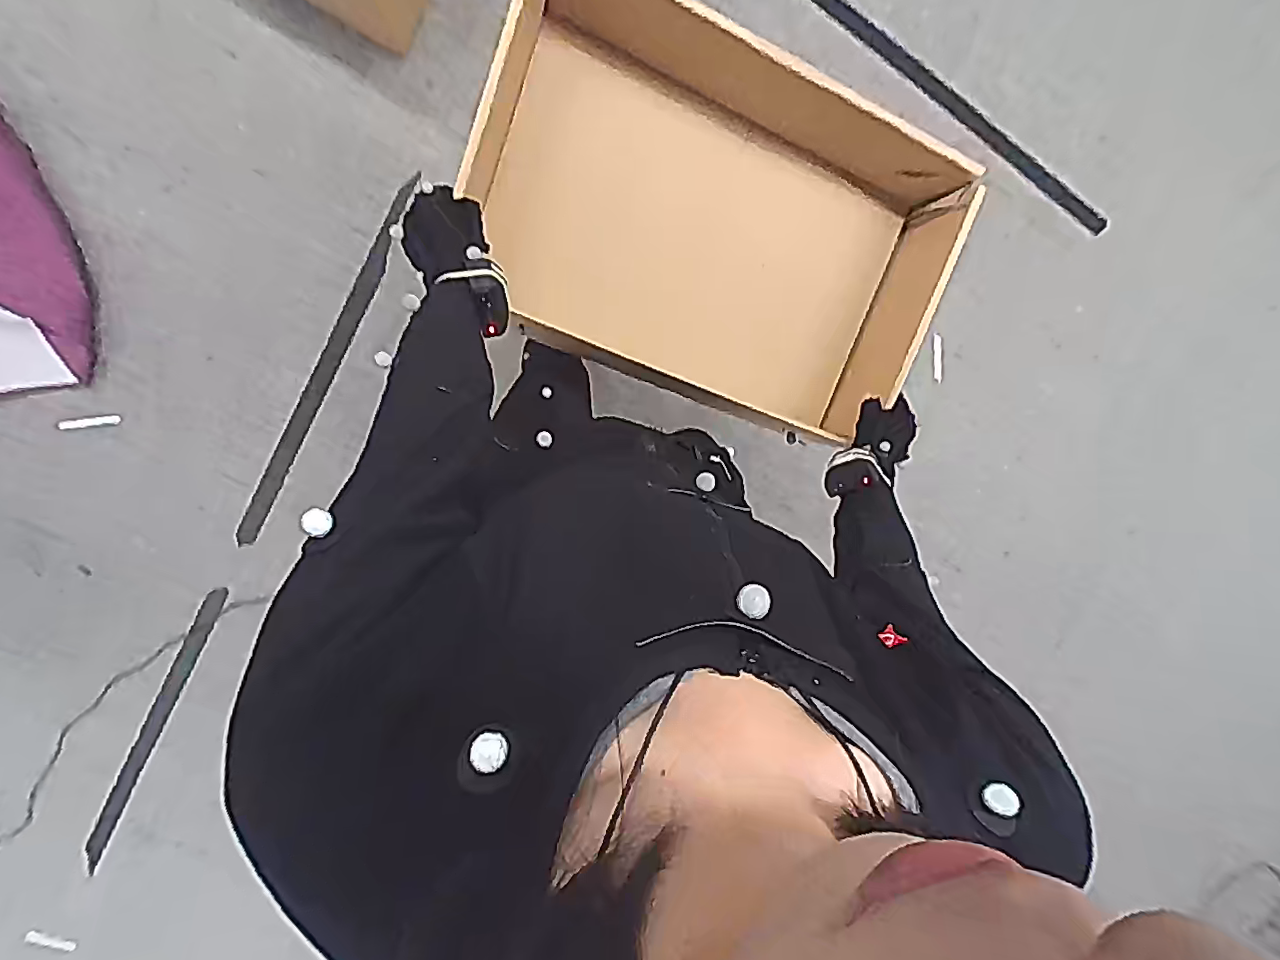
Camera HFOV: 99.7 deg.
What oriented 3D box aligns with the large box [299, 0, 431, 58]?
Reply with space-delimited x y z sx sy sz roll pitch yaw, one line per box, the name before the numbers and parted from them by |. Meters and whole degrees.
large box | -0.612 -1.115 1.006 0.408 0.320 0.320 23 100 -13
